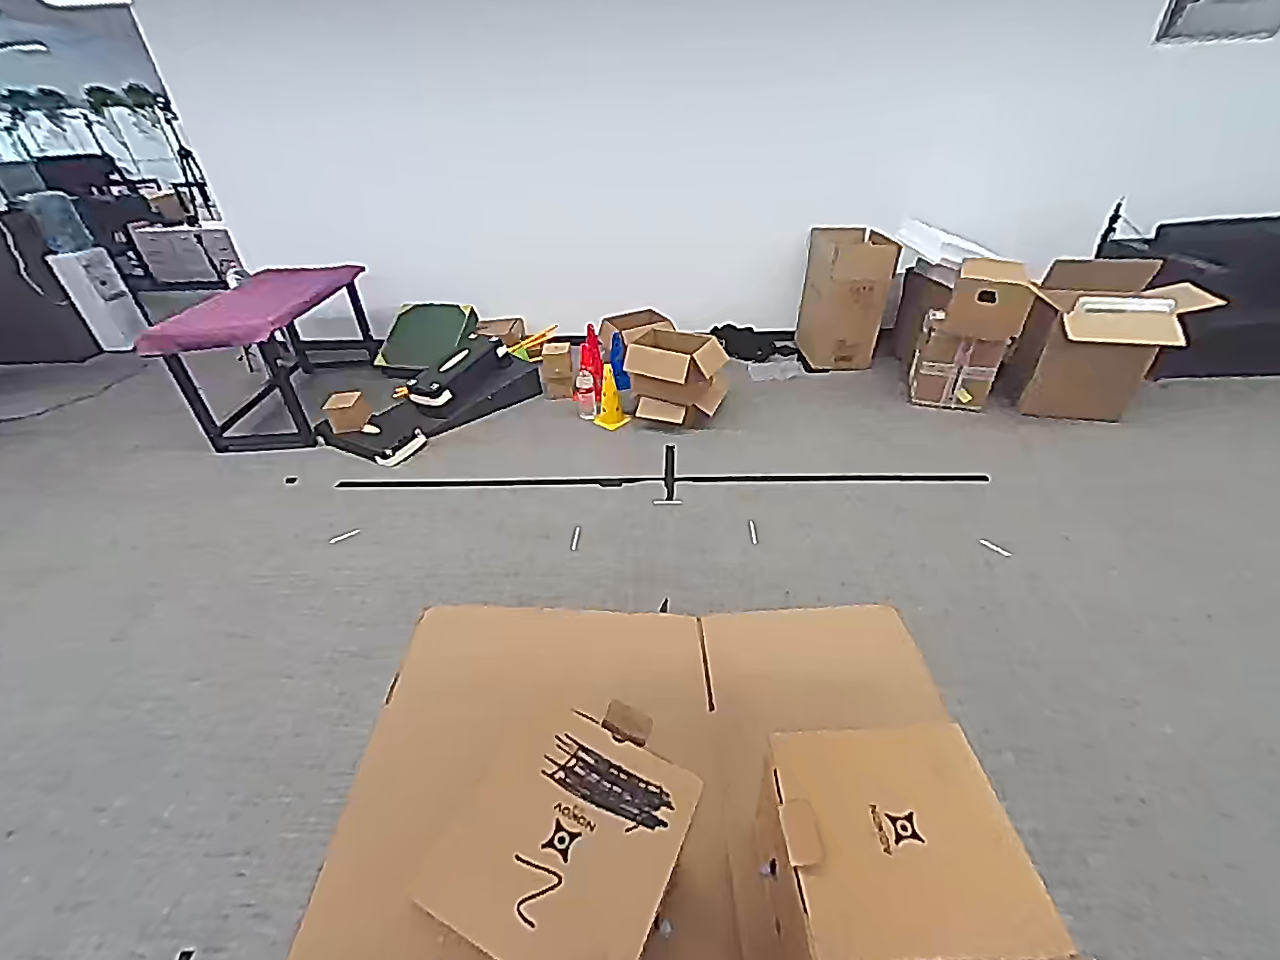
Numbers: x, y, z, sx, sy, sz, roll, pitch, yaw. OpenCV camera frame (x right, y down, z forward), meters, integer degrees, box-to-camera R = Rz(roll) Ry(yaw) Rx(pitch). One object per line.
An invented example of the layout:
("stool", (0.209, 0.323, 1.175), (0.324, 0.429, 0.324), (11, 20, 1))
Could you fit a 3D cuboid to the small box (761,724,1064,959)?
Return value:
("small box", (0.213, 0.344, 0.486), (0.179, 0.176, 0.168), (-5, 36, 2))
